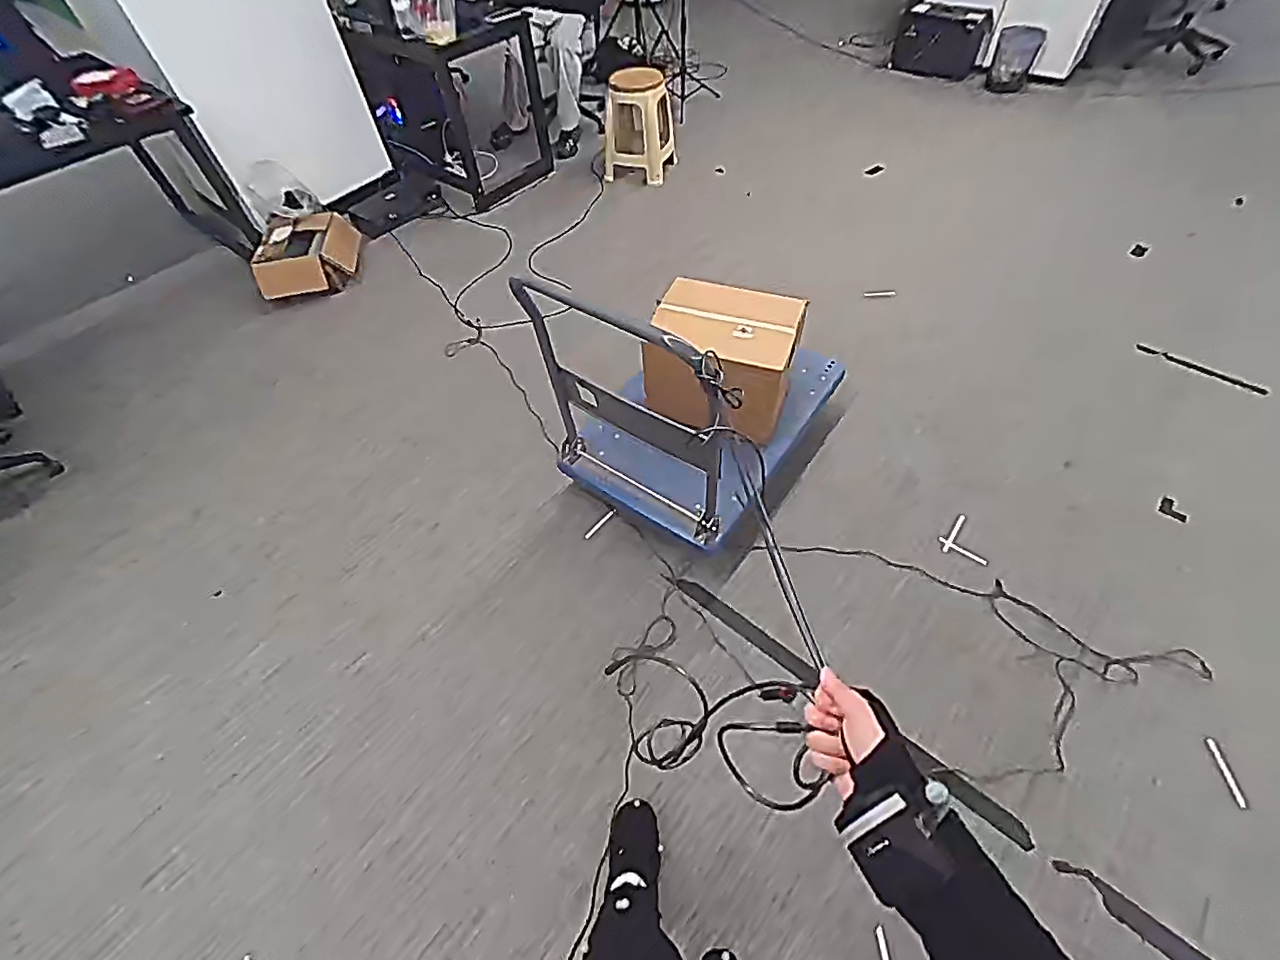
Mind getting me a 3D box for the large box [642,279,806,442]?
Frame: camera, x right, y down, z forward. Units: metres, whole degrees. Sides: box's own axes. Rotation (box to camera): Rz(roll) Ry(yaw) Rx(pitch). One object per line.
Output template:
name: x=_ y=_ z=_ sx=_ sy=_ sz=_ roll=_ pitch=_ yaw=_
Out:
large box: x=0.246 y=-0.362 z=1.645 sx=0.408 sy=0.320 sz=0.320 roll=17 pitch=58 yaw=15
